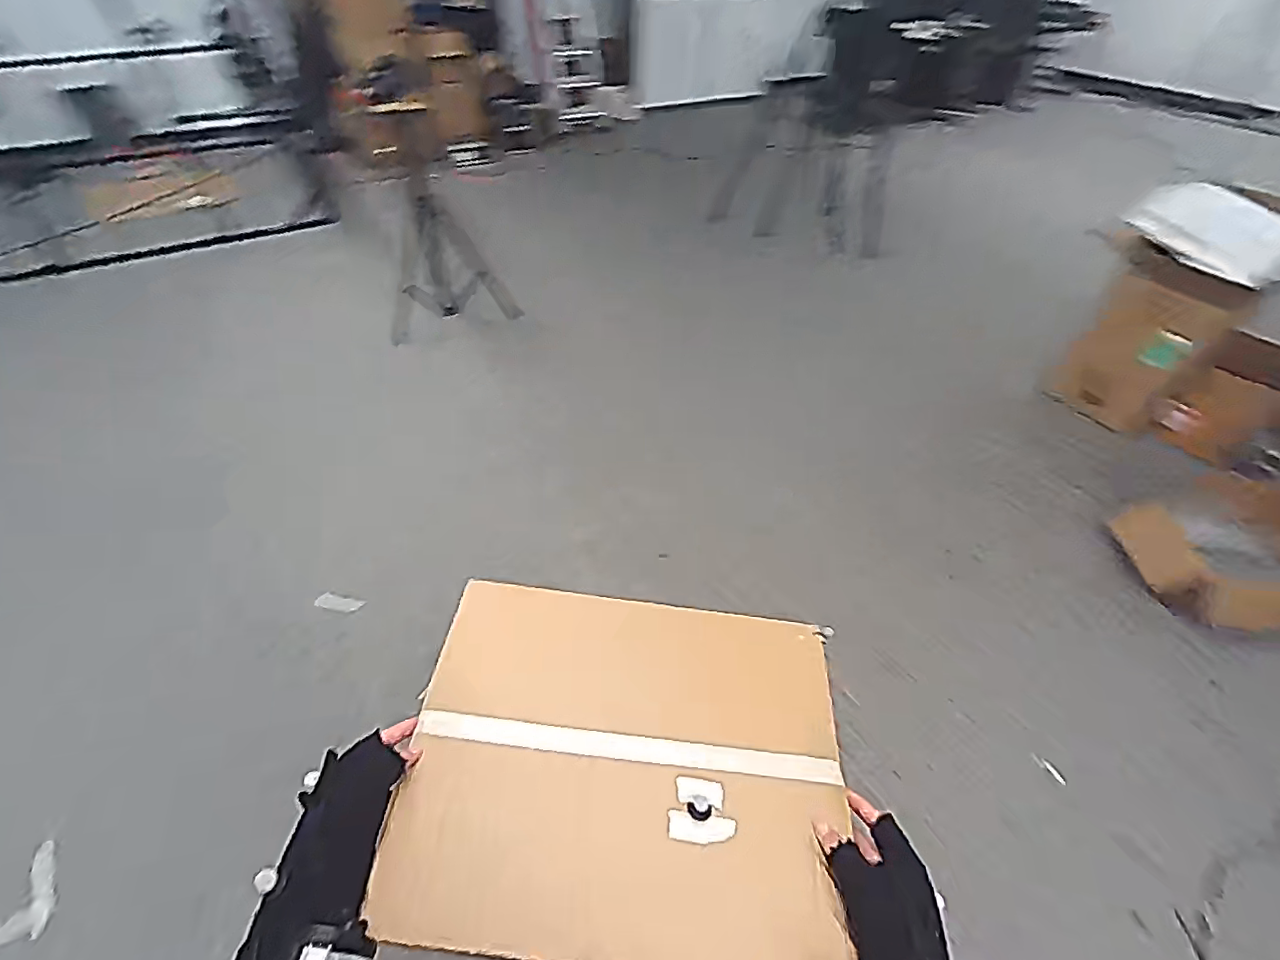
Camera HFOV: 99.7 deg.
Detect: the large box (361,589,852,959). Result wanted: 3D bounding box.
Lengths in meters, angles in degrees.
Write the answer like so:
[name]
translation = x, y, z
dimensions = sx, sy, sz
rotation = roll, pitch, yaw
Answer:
[large box]
translation = -0.030, 0.359, 0.636
dimensions = 0.408, 0.320, 0.320
rotation = 7, 48, -1
